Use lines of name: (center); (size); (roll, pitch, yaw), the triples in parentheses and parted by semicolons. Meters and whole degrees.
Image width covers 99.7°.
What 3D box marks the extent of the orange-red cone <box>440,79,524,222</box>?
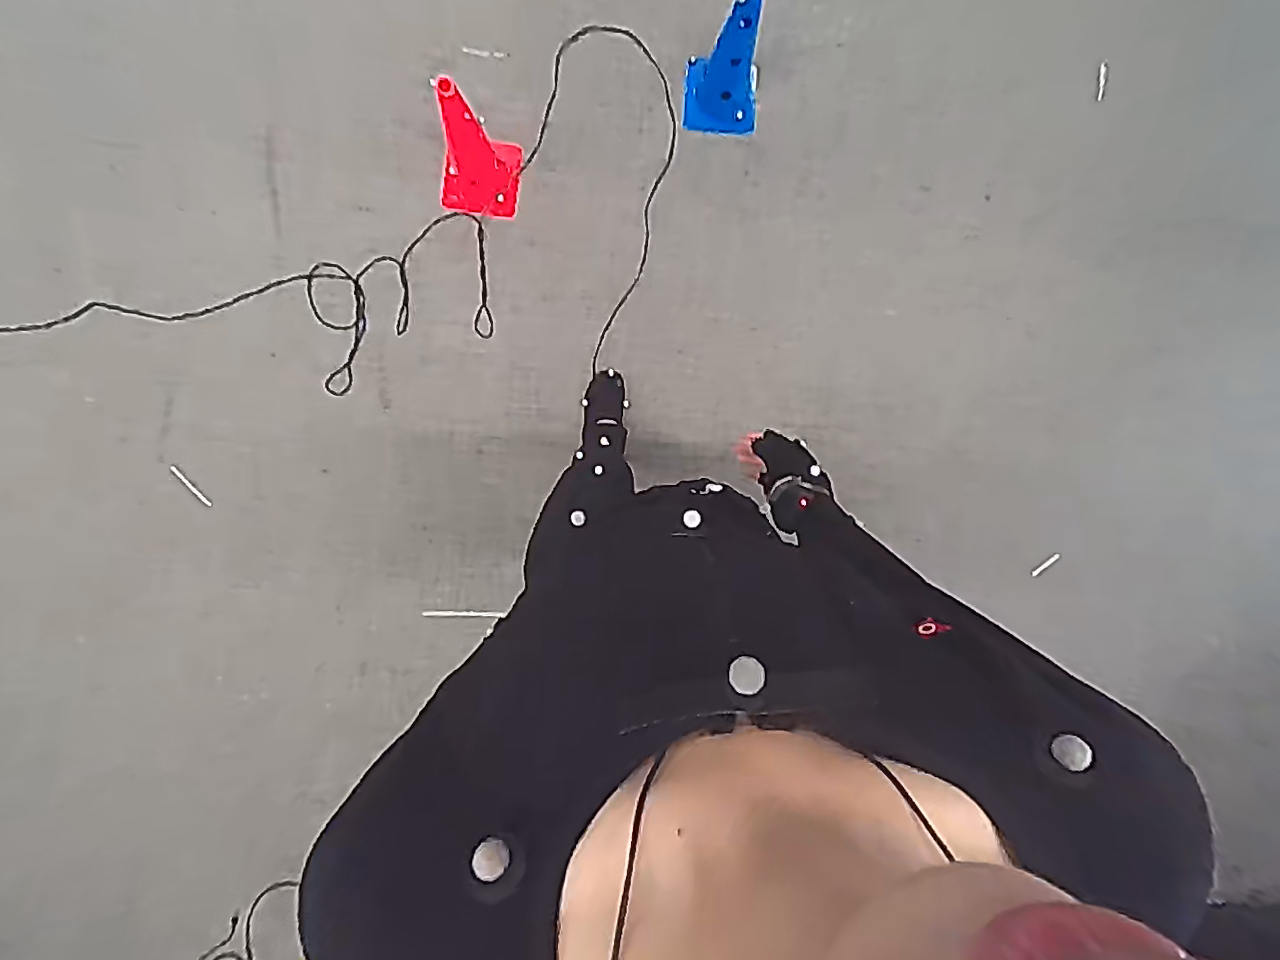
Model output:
orange-red cone: (-0.407, -0.804, 1.279); (0.198, 0.360, 0.199); (8, 89, -5)
